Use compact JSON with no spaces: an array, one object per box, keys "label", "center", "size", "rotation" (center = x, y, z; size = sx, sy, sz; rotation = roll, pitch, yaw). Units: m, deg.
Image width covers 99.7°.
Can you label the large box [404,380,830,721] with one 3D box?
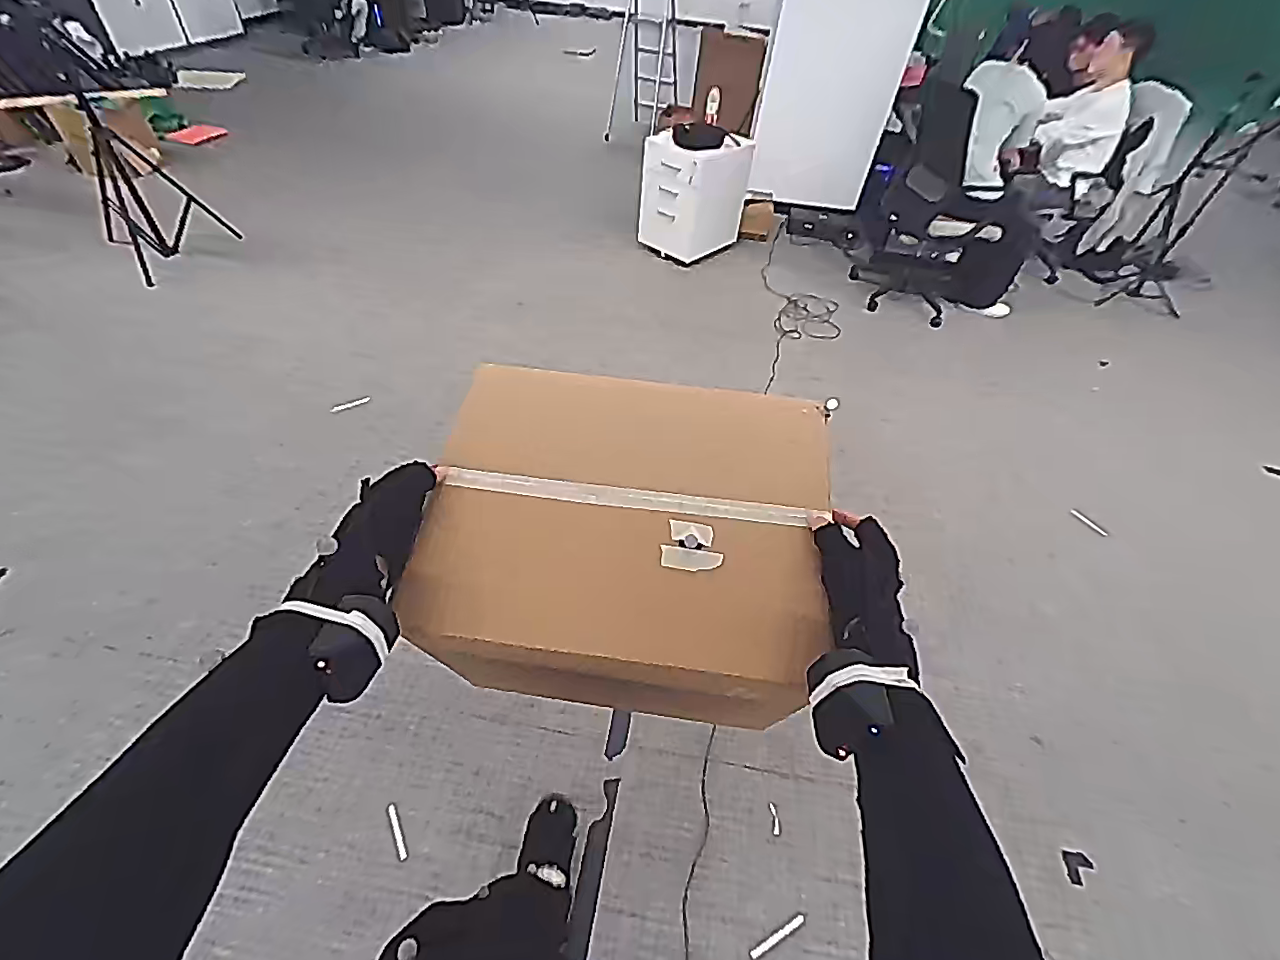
[{"label":"large box","center":[-0.012,0.104,0.696],"size":[0.408,0.320,0.320],"rotation":[7,60,3]}]
